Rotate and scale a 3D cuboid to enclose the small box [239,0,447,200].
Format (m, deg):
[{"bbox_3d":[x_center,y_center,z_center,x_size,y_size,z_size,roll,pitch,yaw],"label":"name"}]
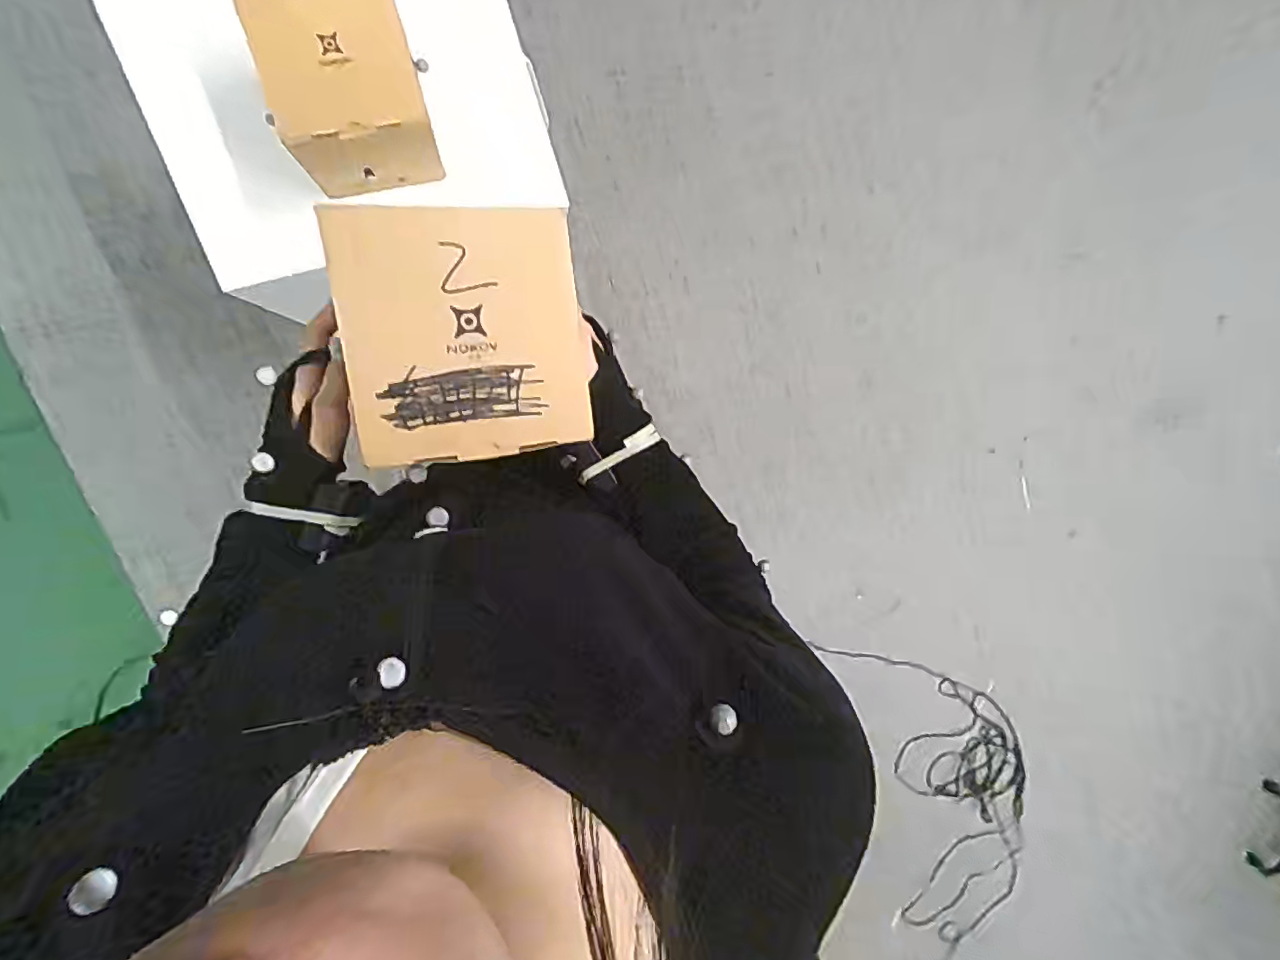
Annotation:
[{"bbox_3d":[-0.357,-0.486,0.682,0.168,0.176,0.179,-17,101,-11],"label":"small box"}]
